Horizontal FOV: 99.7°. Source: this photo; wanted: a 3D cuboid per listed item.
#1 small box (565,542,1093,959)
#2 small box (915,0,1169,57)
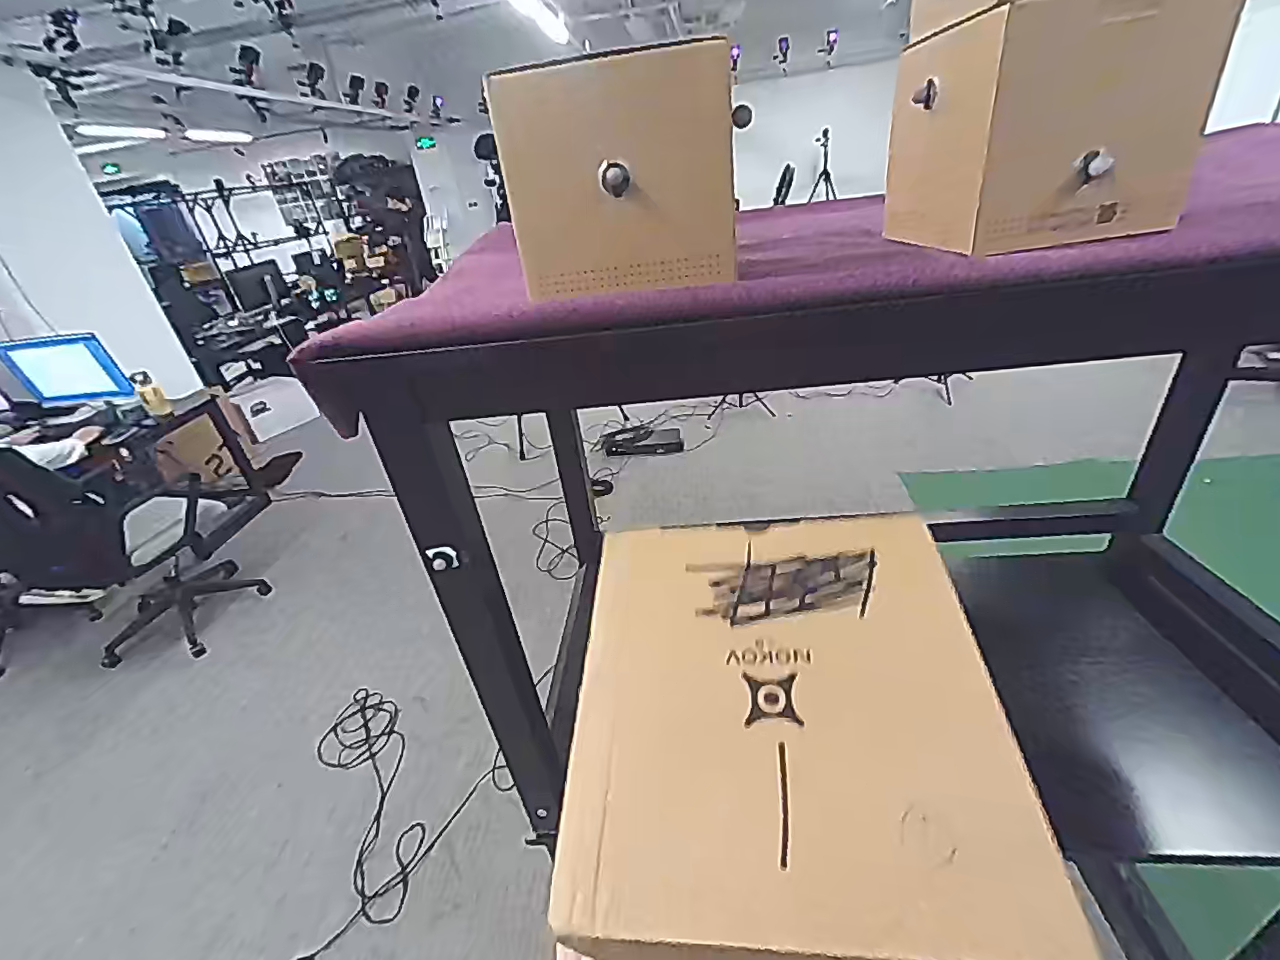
[{"bbox_3d":[0.074,0.153,0.282,0.168,0.176,0.179,-4,44,10],"label":"small box"},{"bbox_3d":[0.327,-0.443,0.401,0.168,0.176,0.179,-5,30,6],"label":"small box"}]
